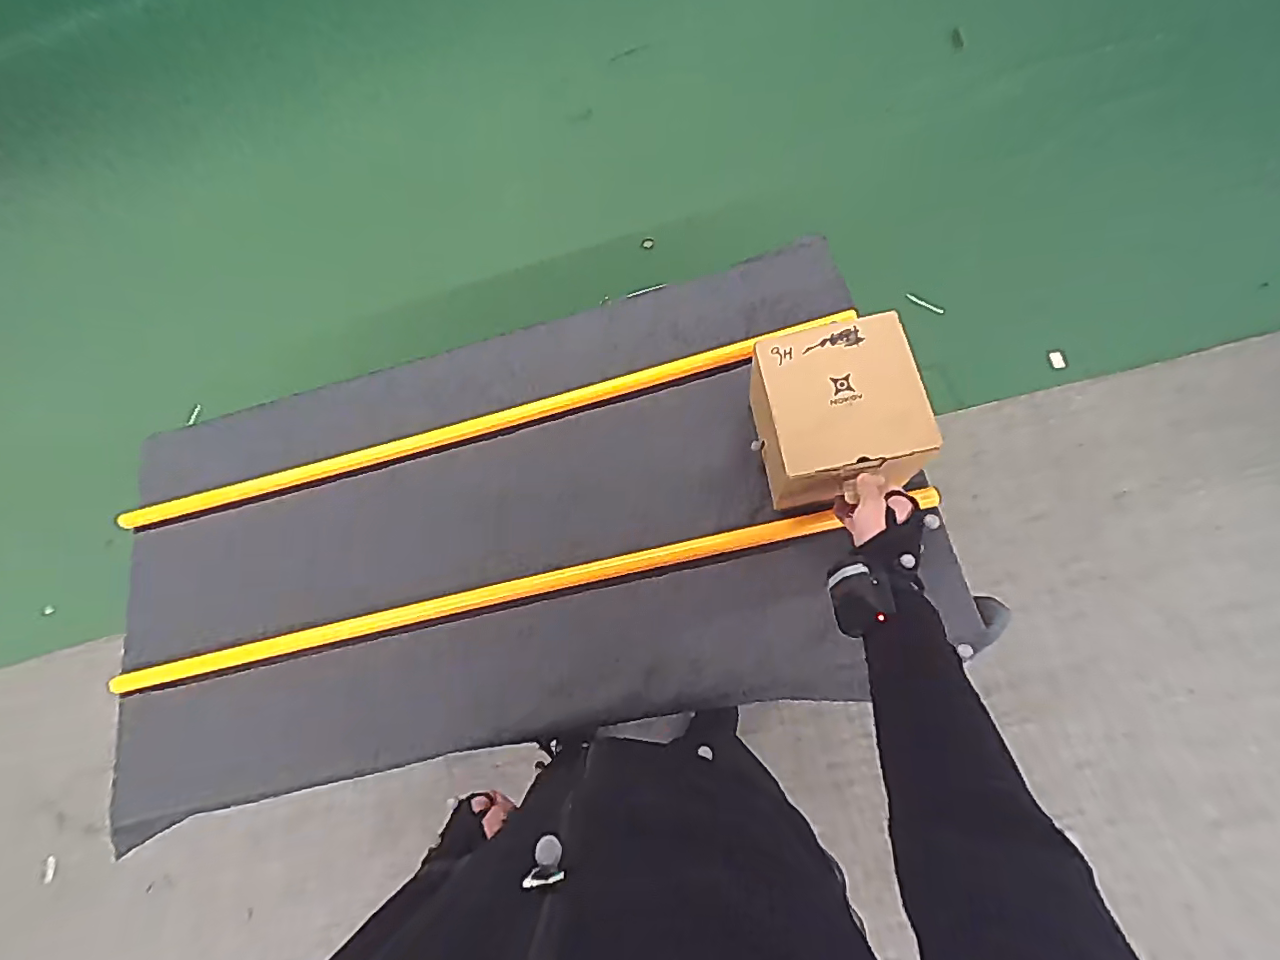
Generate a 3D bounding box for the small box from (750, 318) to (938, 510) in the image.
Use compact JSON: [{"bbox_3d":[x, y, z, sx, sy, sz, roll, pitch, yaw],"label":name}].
[{"bbox_3d":[0.242,-0.068,0.685,0.168,0.176,0.179,-14,72,7],"label":"small box"}]
